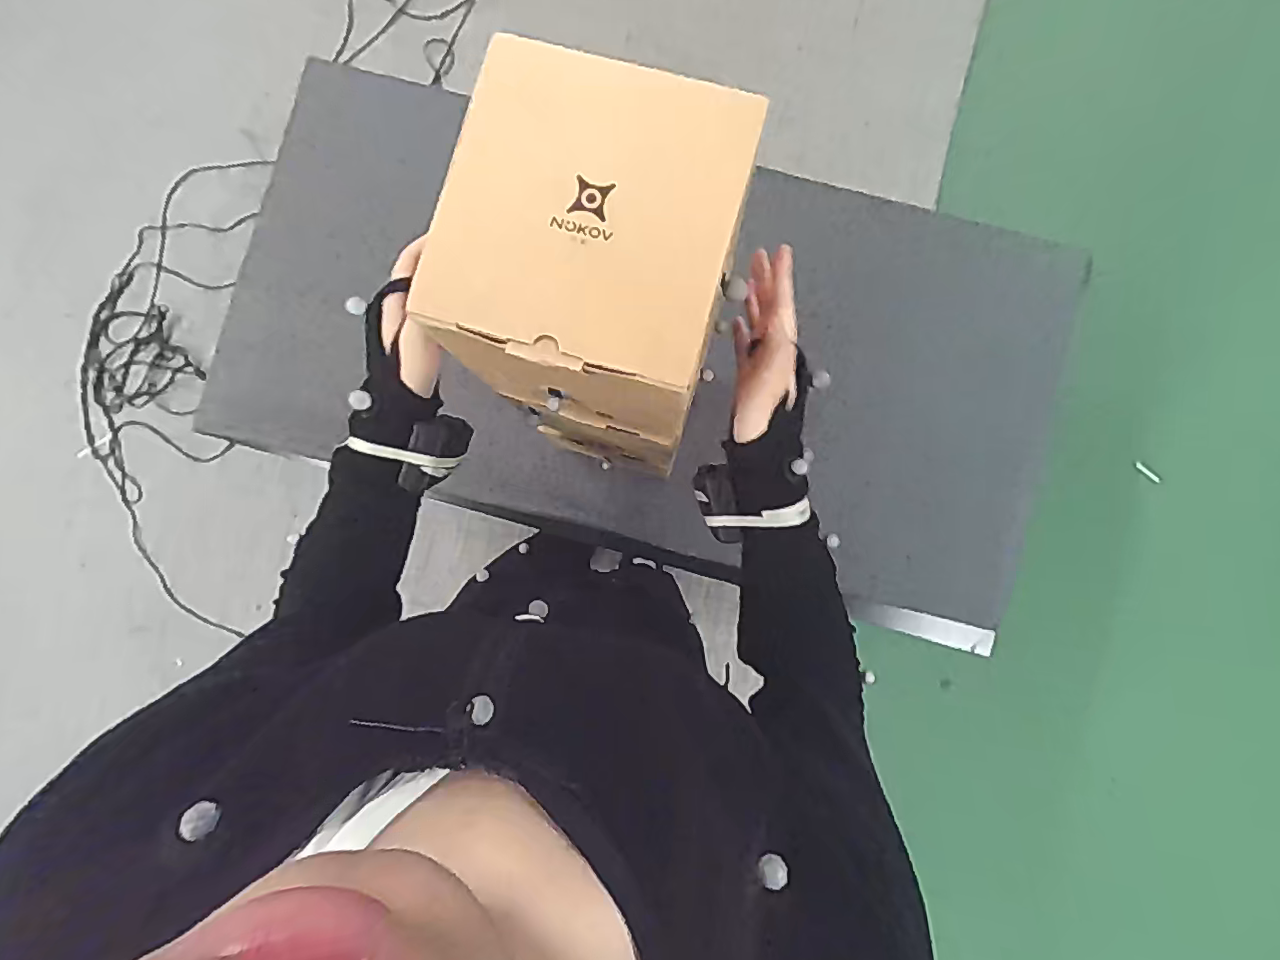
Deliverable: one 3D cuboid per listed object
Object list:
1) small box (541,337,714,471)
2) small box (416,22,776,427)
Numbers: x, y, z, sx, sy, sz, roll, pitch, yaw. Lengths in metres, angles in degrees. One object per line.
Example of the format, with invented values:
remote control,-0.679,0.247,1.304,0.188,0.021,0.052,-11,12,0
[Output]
small box,-0.011,-0.119,0.703,0.168,0.176,0.179,16,88,3
small box,-0.022,-0.150,0.378,0.168,0.176,0.179,15,87,3
